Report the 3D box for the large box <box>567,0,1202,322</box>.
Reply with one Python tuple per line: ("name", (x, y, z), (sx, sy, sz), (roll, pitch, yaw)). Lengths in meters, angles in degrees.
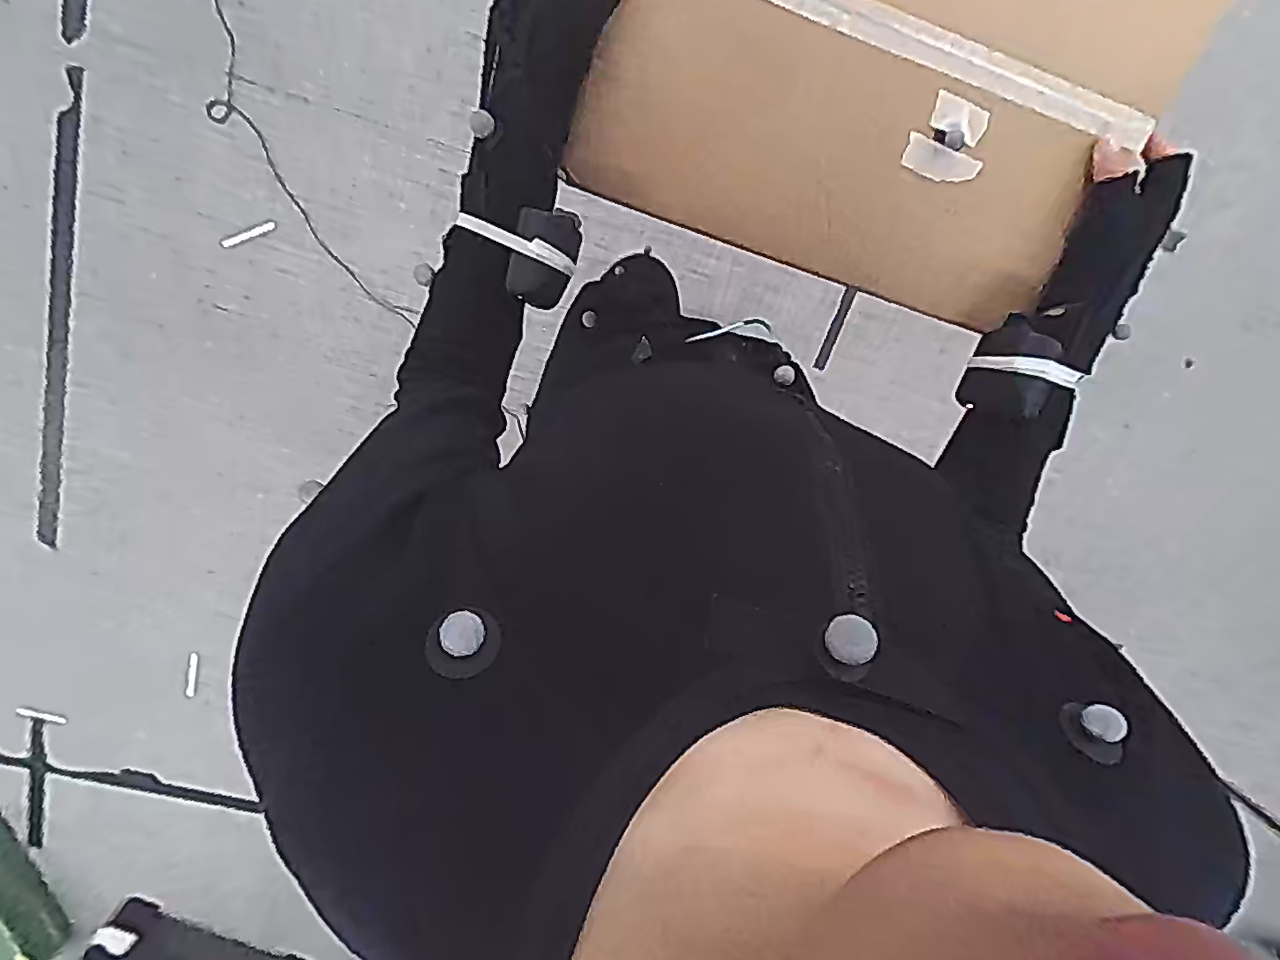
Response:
("large box", (0.172, -0.387, 0.513), (0.408, 0.320, 0.320), (16, 119, -8))
